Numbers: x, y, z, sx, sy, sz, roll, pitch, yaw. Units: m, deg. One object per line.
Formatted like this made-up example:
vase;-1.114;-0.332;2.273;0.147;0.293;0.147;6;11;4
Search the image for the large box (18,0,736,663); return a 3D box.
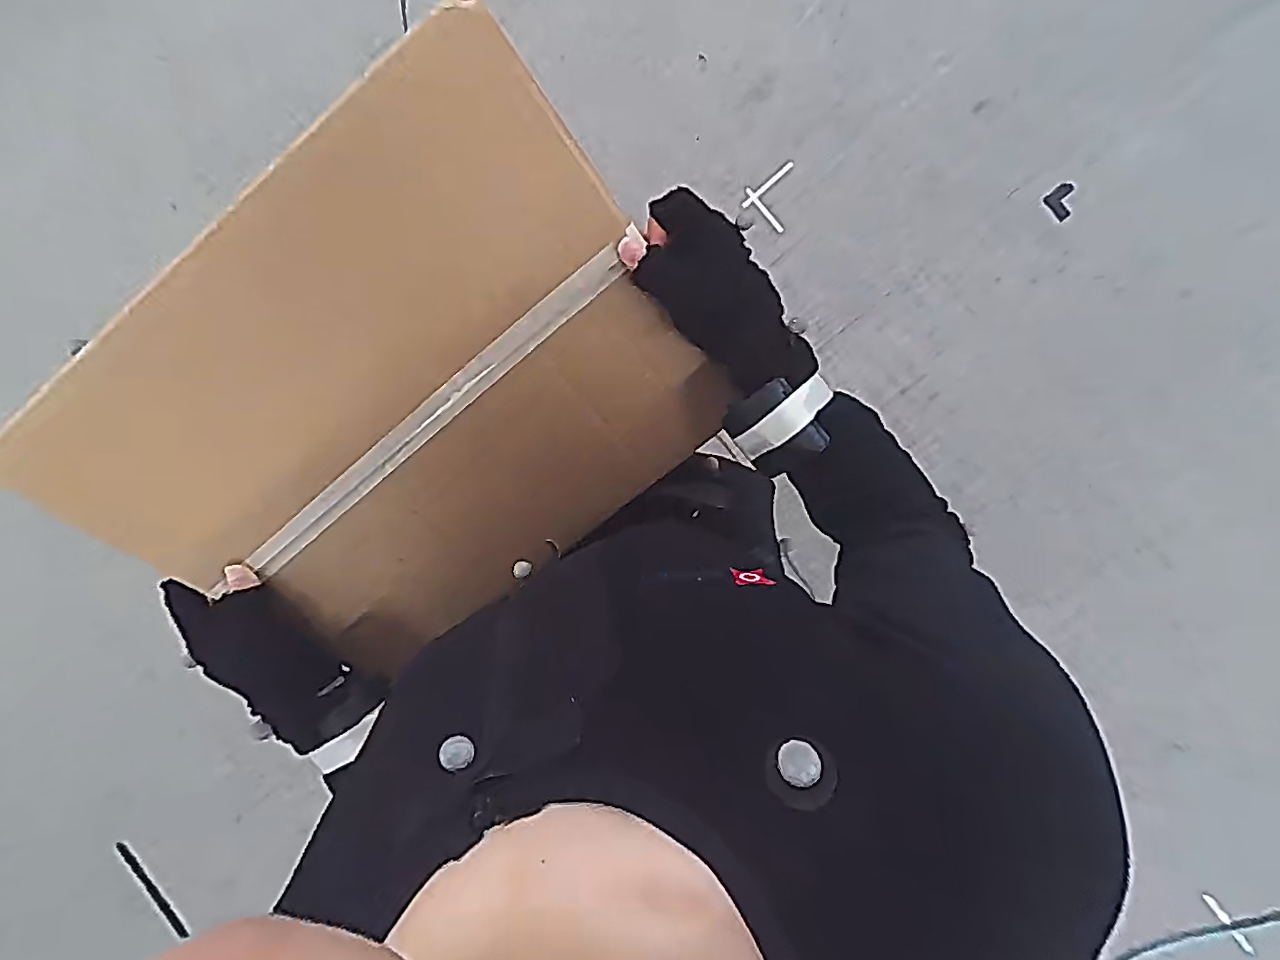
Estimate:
large box;-0.194;-0.116;0.519;0.408;0.320;0.320;-38;122;7
